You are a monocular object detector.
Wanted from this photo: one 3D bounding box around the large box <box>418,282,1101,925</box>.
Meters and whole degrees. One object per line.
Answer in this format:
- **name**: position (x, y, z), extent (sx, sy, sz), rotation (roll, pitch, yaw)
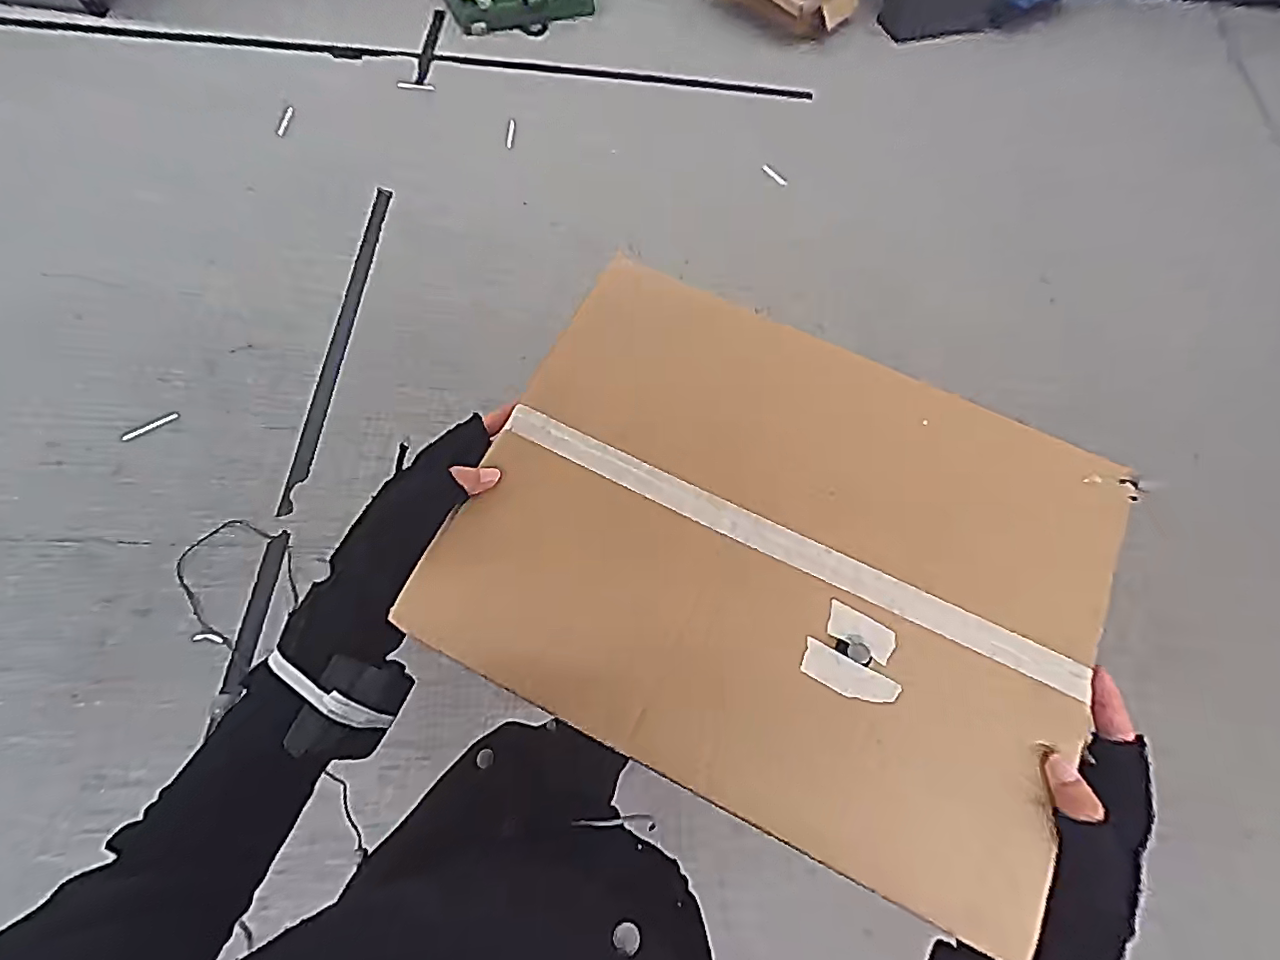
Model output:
- **large box**: position (0.090, 0.092, 0.516), extent (0.408, 0.320, 0.320), rotation (26, 74, 7)
